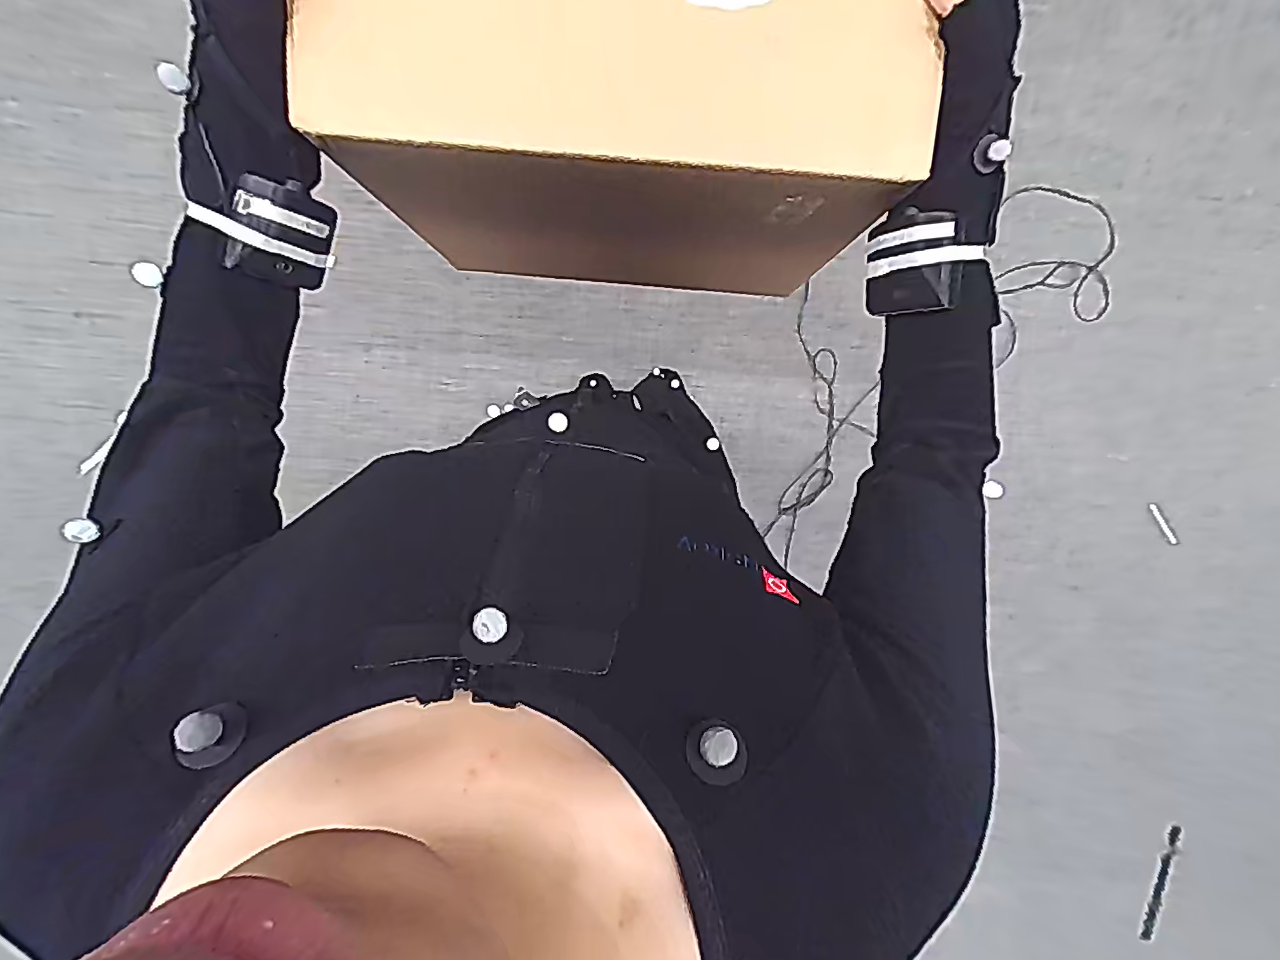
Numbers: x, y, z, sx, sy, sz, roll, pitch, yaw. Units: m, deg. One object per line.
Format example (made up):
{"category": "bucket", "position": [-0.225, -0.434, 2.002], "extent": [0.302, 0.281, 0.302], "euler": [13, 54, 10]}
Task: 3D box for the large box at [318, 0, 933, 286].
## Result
{"category": "large box", "position": [-0.007, -0.382, 0.492], "extent": [0.408, 0.320, 0.320], "euler": [4, 96, -1]}
